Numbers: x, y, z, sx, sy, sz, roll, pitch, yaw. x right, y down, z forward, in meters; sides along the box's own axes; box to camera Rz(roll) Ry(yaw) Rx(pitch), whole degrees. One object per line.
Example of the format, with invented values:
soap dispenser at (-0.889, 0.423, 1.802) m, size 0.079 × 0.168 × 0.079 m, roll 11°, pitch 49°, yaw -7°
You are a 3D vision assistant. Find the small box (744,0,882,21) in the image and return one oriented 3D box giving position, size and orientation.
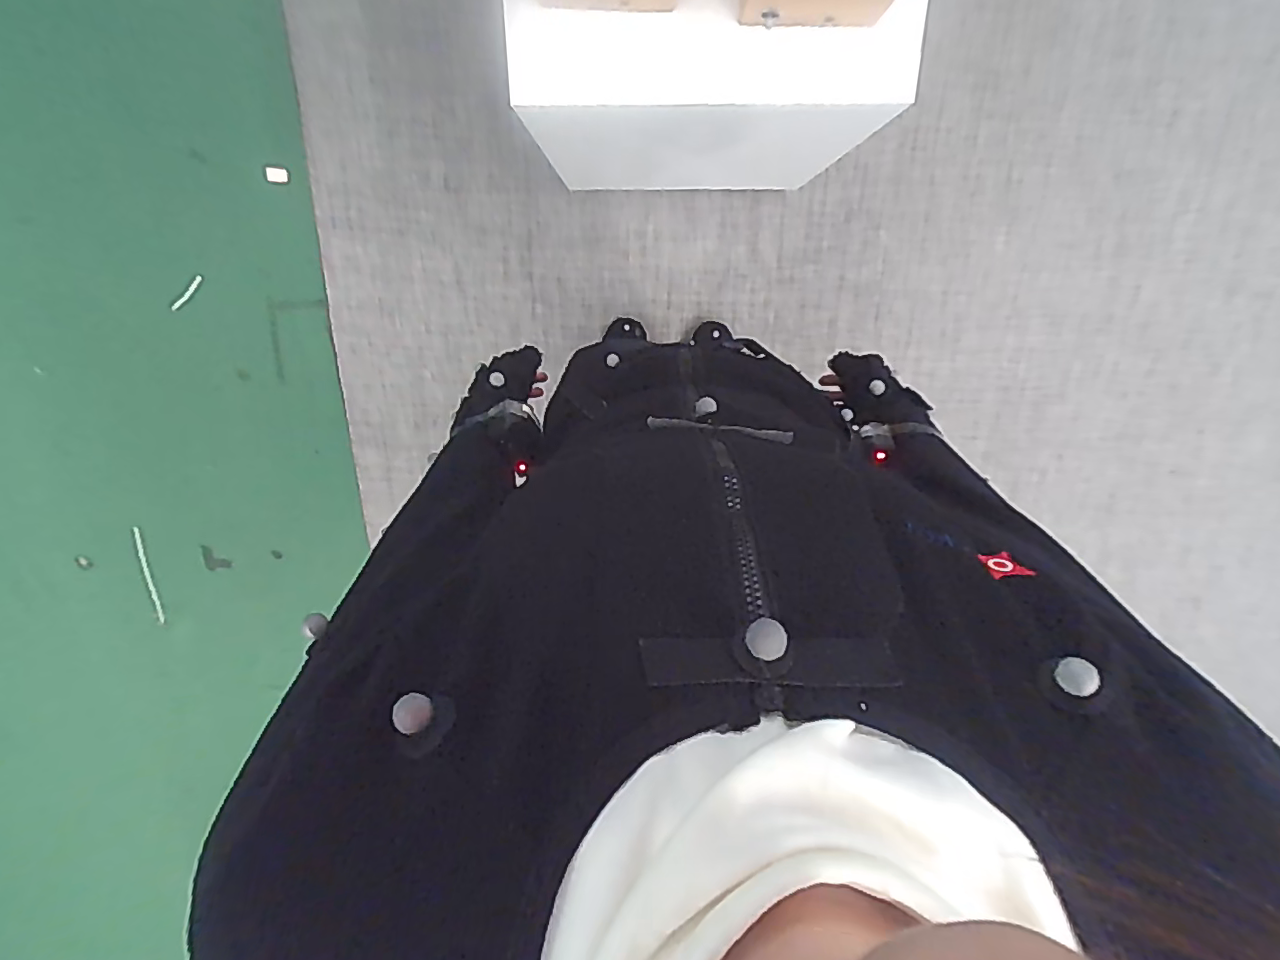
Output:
small box at (0.198, -0.608, 0.549) m, size 0.168 × 0.176 × 0.179 m, roll 2°, pitch 107°, yaw 1°

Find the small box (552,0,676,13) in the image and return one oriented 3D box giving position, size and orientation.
small box at (-0.035, -0.626, 0.547) m, size 0.168 × 0.176 × 0.179 m, roll 3°, pitch 107°, yaw 1°
